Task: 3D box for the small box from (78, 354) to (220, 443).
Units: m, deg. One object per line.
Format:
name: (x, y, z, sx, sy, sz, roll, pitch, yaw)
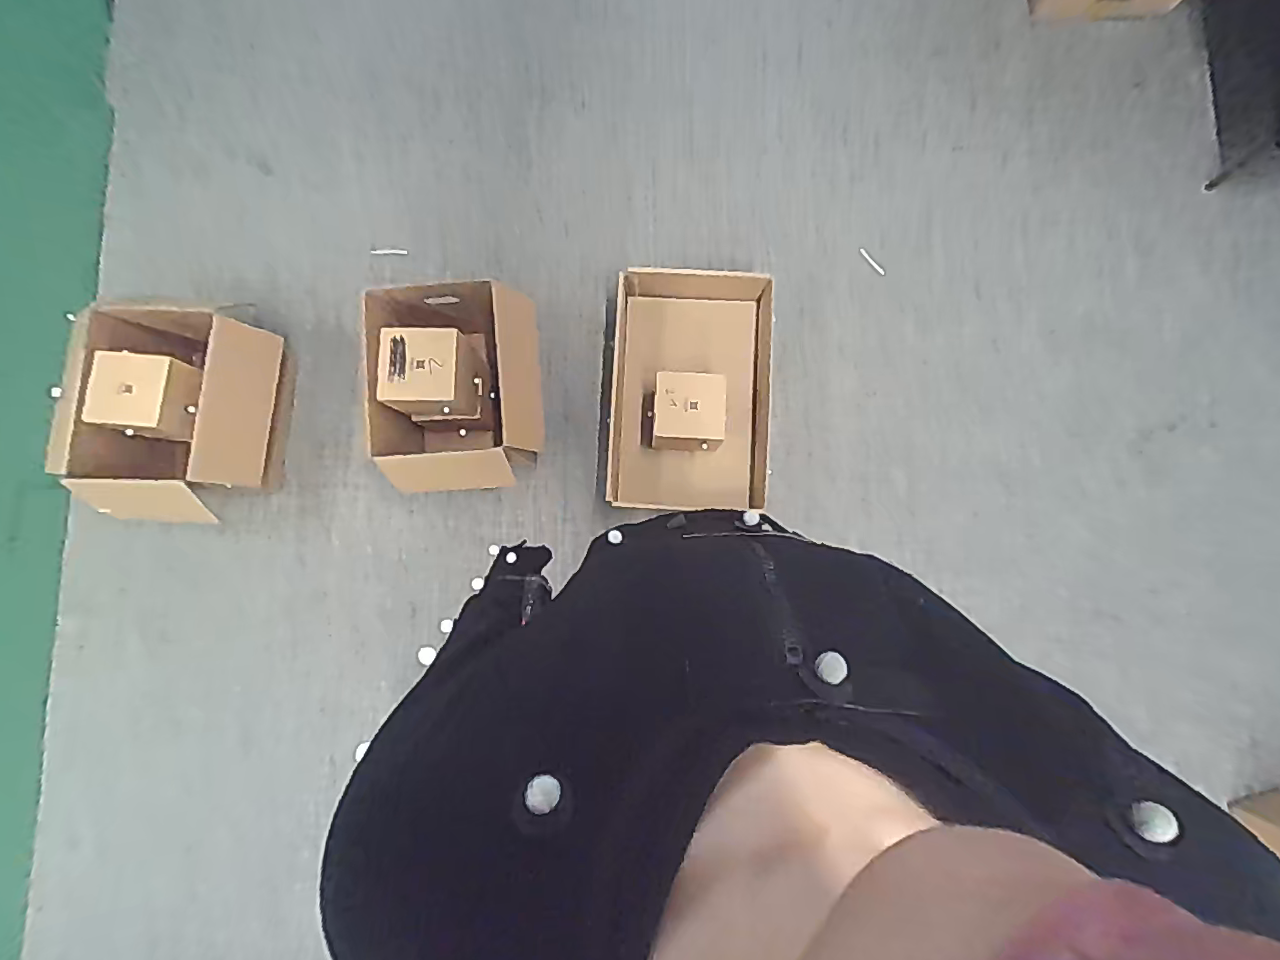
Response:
small box: (-1.149, -0.186, 1.280, 0.179, 0.176, 0.168, 4, 83, 1)
